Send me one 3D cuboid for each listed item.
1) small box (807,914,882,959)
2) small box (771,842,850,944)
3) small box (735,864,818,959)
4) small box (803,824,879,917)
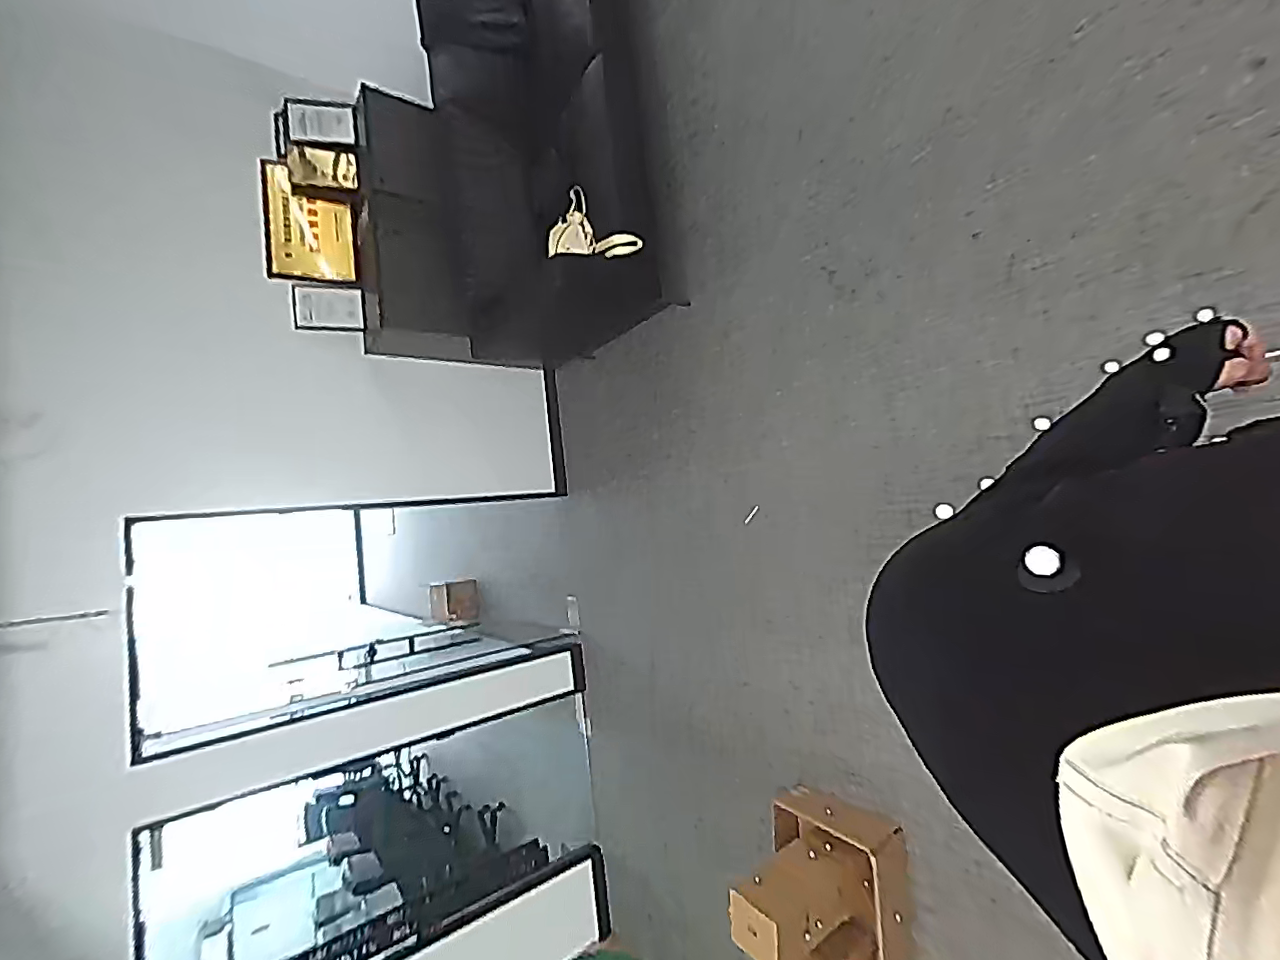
[{"bbox_3d":[0.677,1.569,1.792,0.179,0.176,0.168,-4,89,54],"label":"small box"},{"bbox_3d":[0.533,1.277,1.693,0.179,0.176,0.168,-1,92,54],"label":"small box"},{"bbox_3d":[0.402,1.283,1.596,0.179,0.176,0.168,0,92,53],"label":"small box"},{"bbox_3d":[0.664,1.279,1.791,0.179,0.176,0.168,-4,89,53],"label":"small box"}]
